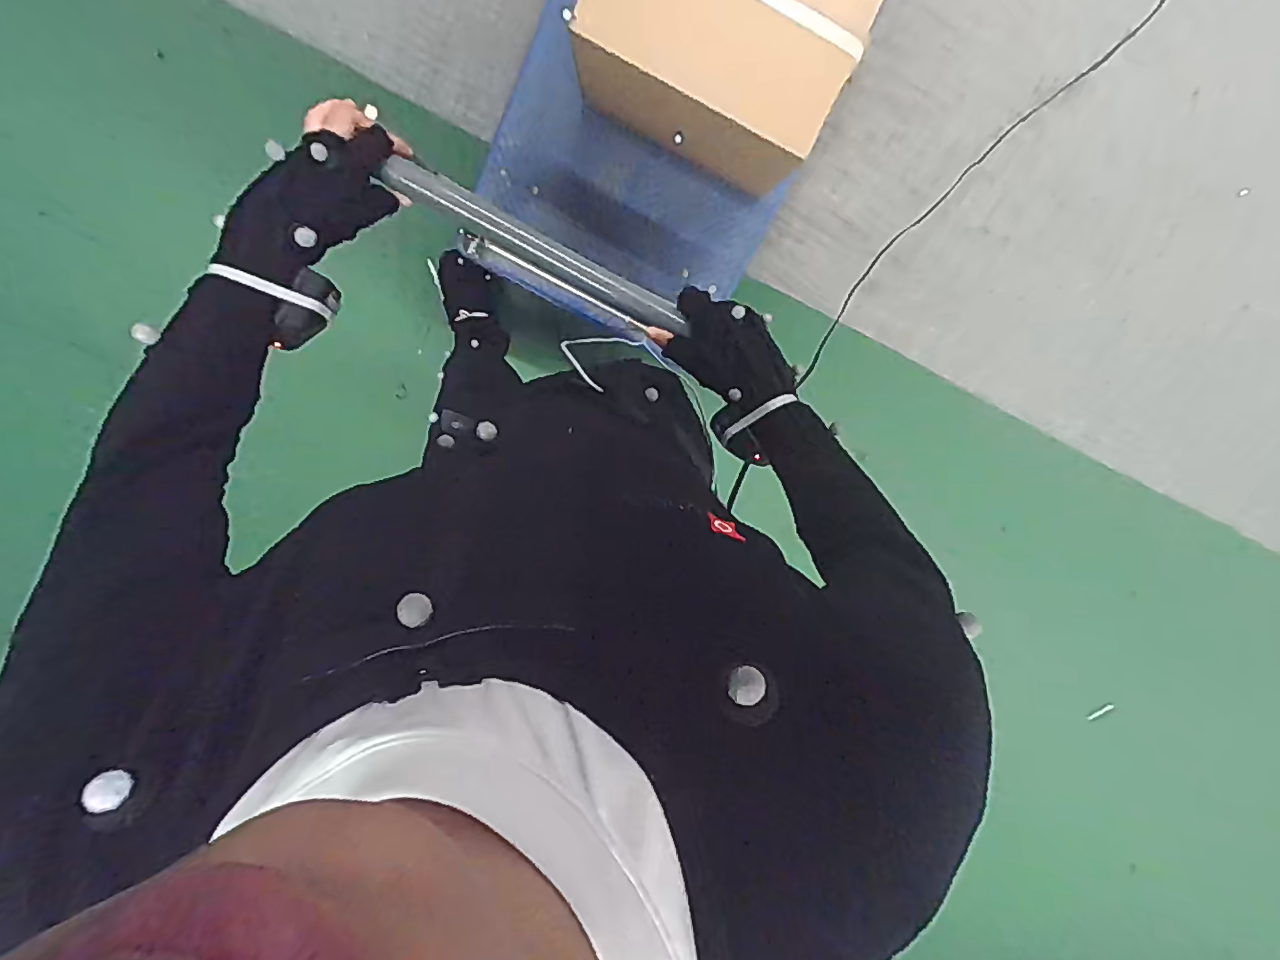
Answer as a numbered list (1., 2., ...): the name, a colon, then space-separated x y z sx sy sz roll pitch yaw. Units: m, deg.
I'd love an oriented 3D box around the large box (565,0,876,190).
1. large box: 0.134 -0.759 0.915 0.408 0.320 0.320 25 105 -8
